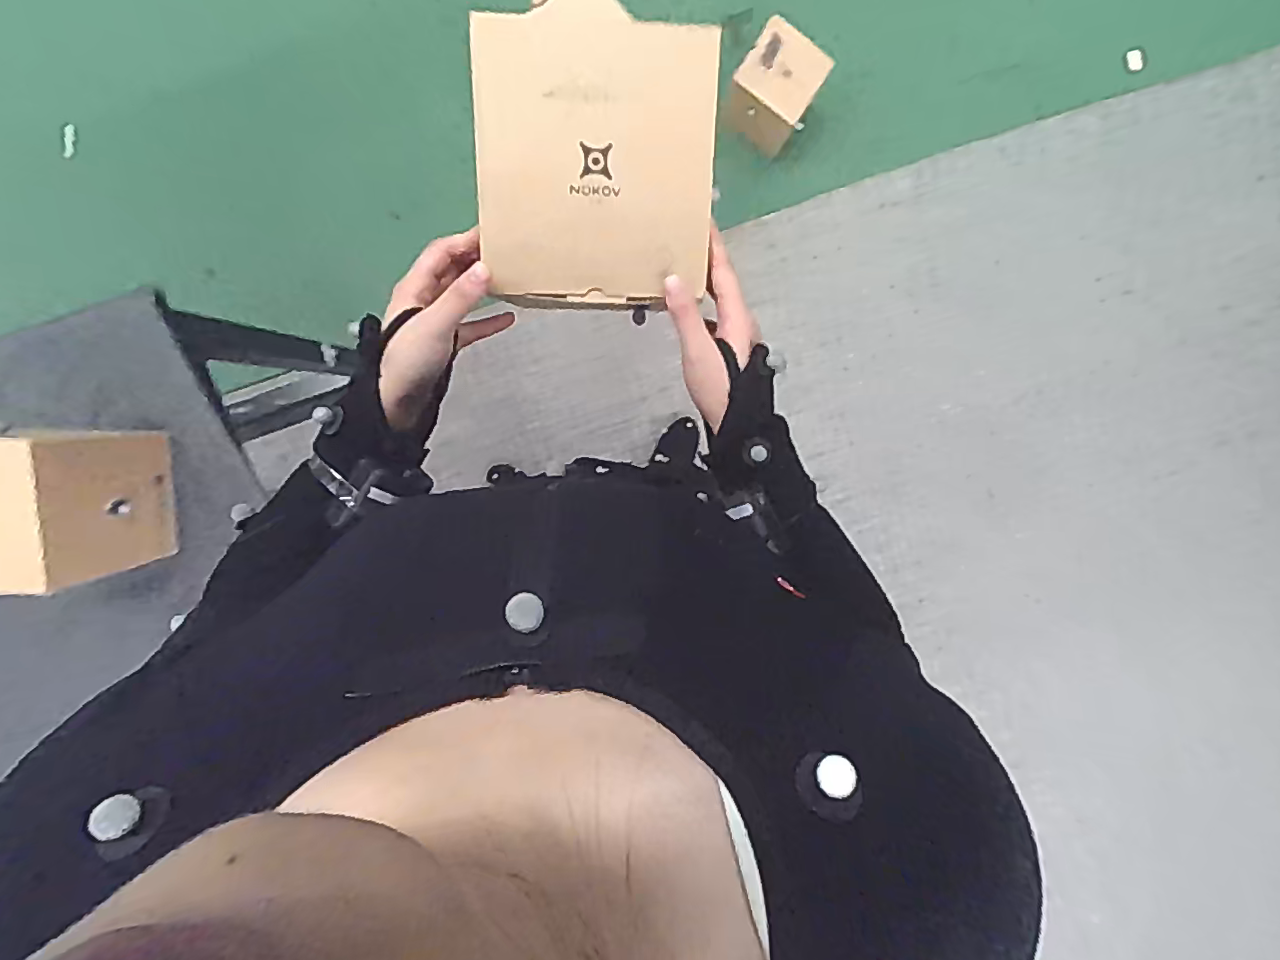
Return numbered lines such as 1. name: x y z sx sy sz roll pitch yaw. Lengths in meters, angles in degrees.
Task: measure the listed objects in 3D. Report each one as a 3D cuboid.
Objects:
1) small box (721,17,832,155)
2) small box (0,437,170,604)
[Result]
1. small box: 0.315 -0.927 1.293 0.179 0.176 0.168 33 95 -6
2. small box: -0.704 0.037 0.639 0.179 0.176 0.168 2 97 0
